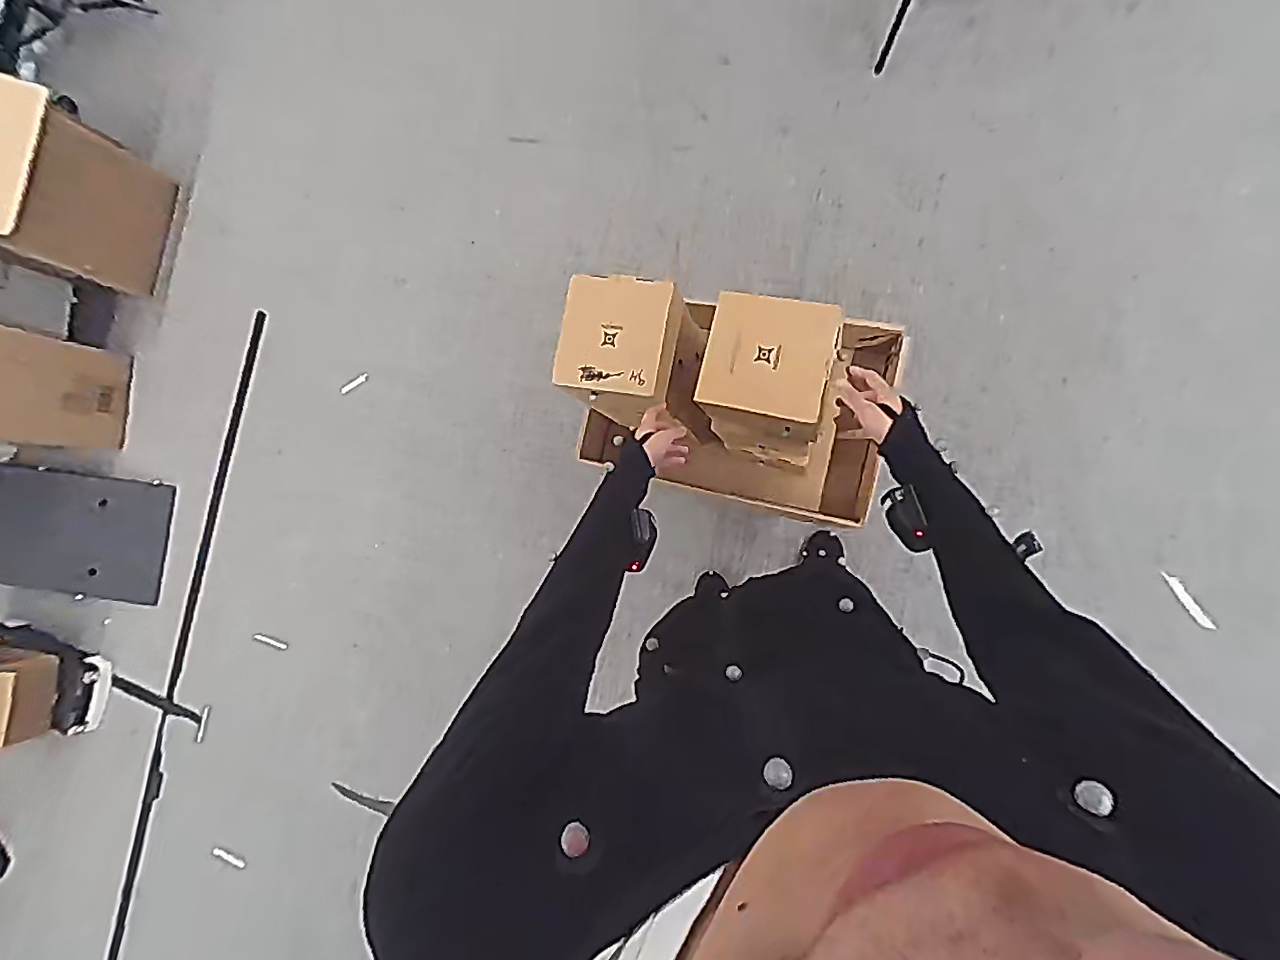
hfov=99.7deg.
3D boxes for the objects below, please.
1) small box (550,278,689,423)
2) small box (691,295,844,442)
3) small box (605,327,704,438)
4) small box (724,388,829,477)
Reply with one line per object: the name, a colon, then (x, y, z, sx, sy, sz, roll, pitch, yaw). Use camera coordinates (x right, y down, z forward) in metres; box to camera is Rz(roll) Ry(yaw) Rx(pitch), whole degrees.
small box: (-0.023, -0.203, 0.880, 0.168, 0.176, 0.179, 10, 87, 17)
small box: (0.197, -0.160, 0.820, 0.179, 0.176, 0.168, 15, 89, 19)
small box: (0.026, -0.188, 1.037, 0.168, 0.176, 0.179, 10, 88, 16)
small box: (0.287, -0.114, 1.131, 0.168, 0.176, 0.179, 15, 90, 19)
